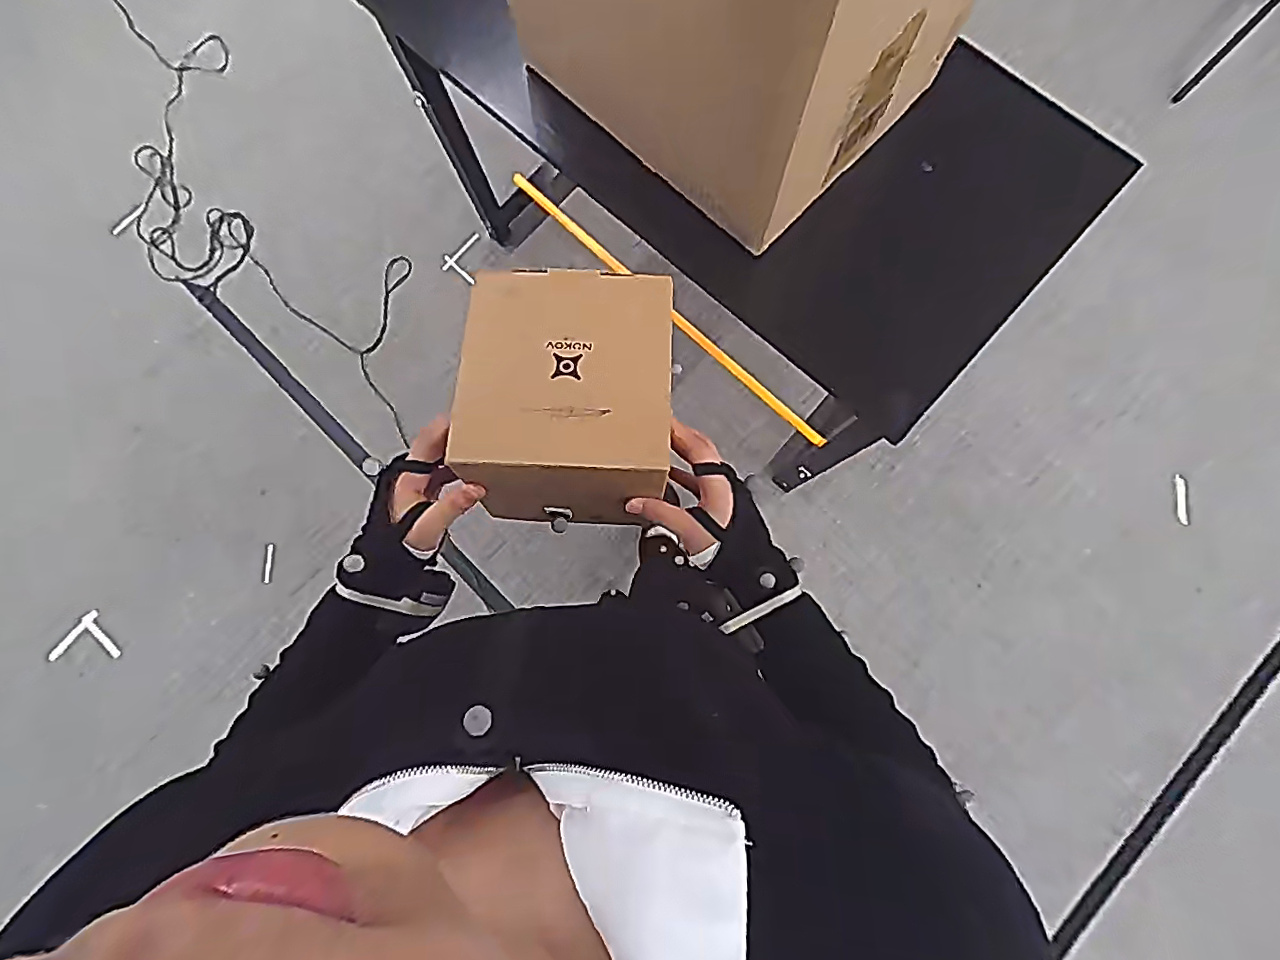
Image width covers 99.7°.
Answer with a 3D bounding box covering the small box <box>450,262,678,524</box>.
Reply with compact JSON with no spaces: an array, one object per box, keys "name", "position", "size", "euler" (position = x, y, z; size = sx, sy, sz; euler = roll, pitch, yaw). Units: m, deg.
[{"name":"small box","position":[-0.056,-0.069,0.497],"size":[0.168,0.176,0.179],"euler":[2,70,0]}]
